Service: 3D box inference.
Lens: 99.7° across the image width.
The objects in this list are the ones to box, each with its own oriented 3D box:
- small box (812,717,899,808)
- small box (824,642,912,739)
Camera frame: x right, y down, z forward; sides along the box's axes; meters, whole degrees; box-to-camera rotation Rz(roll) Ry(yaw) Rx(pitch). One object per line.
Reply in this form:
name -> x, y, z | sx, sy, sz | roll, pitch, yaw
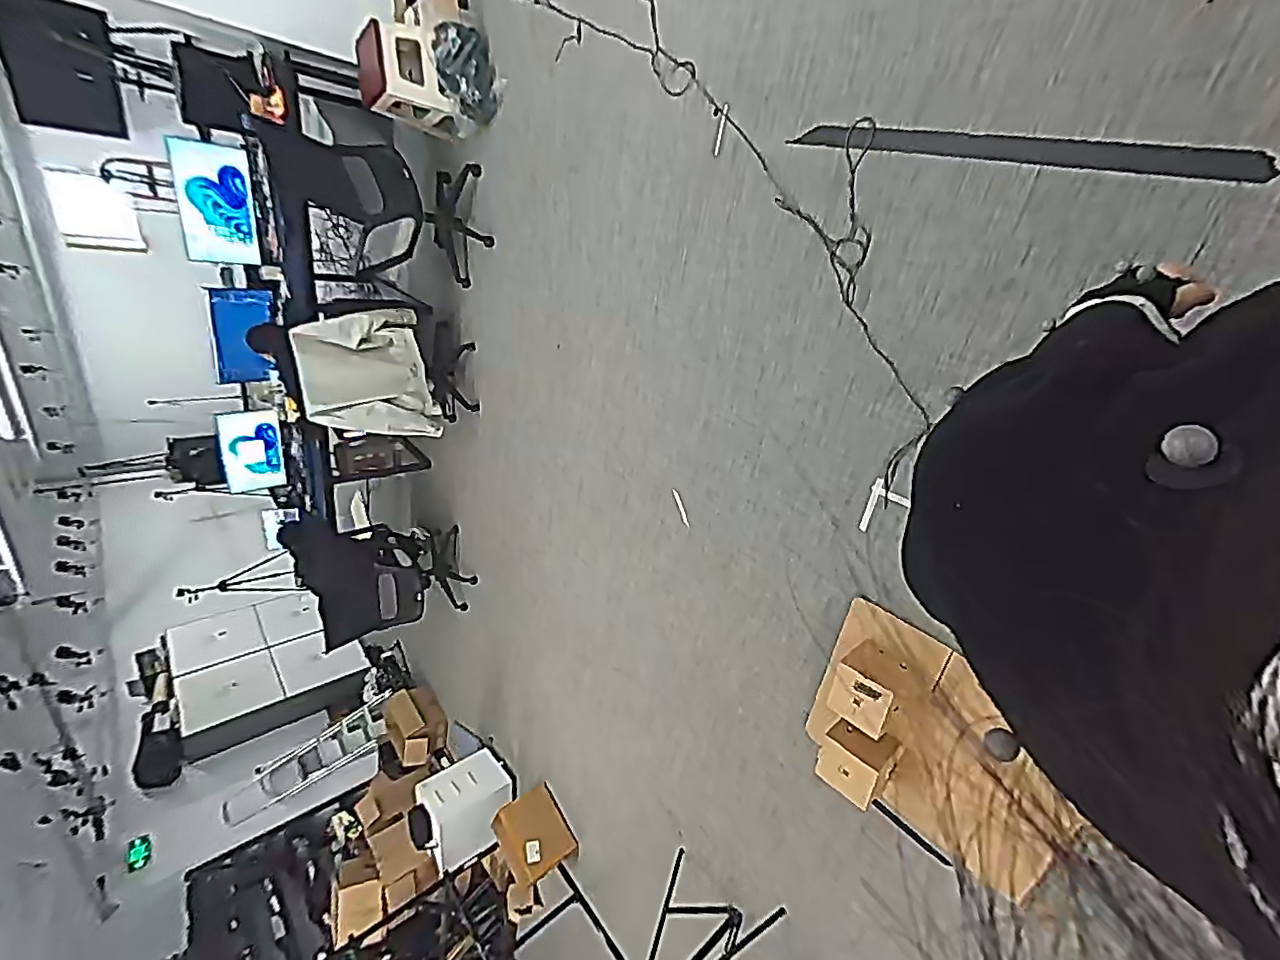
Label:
small box -> 0.669, 0.858, 1.678 | 0.179, 0.176, 0.168 | 26, 120, 41
small box -> 0.677, 0.611, 1.596 | 0.168, 0.176, 0.179 | 28, 120, 41
